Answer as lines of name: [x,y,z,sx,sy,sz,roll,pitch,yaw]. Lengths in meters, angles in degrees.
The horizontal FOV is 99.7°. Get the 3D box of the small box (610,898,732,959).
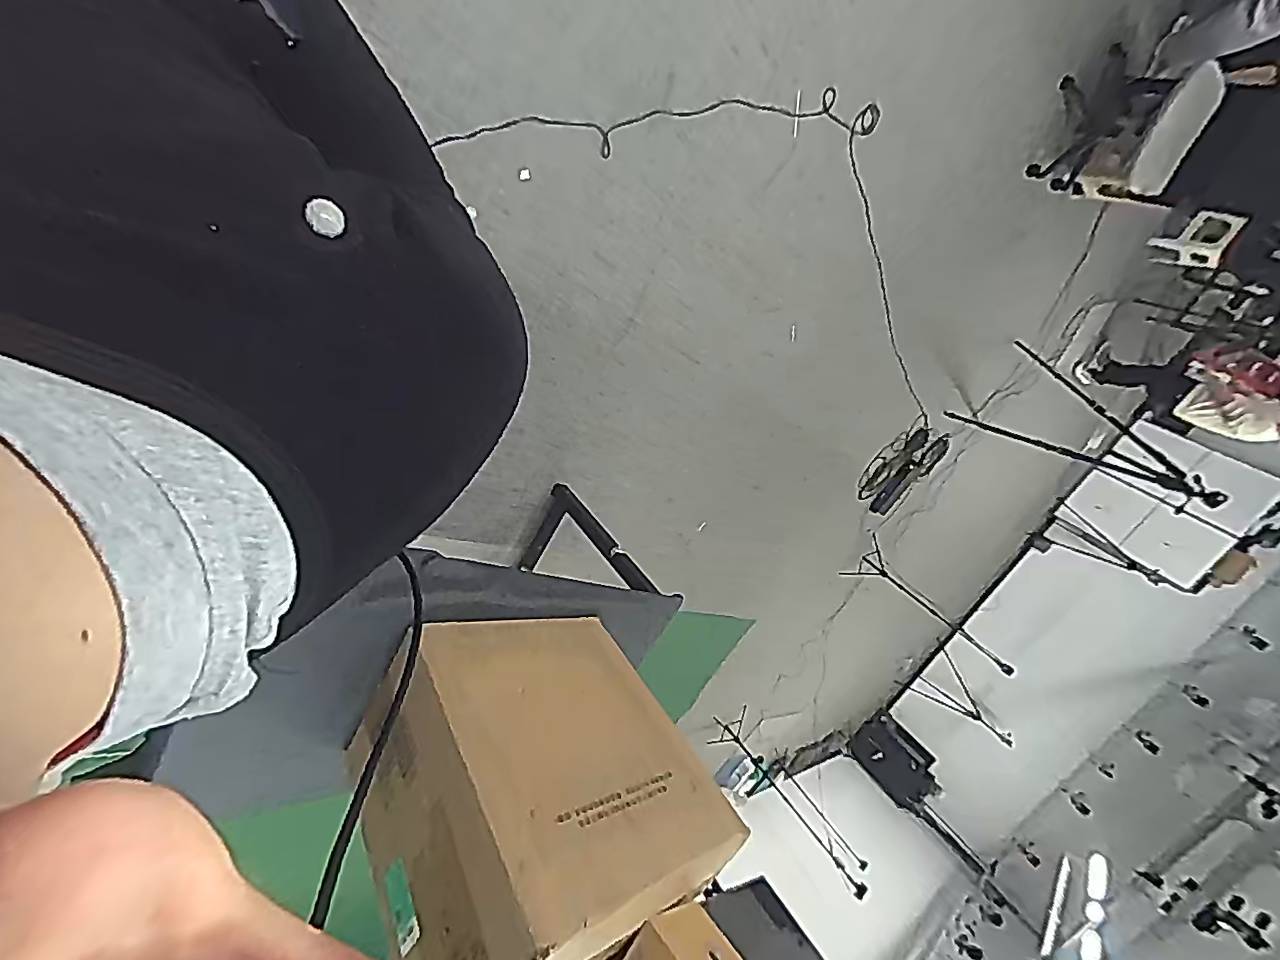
small box: [0.051,0.889,0.956,0.179,0.176,0.168,34,87,-49]
